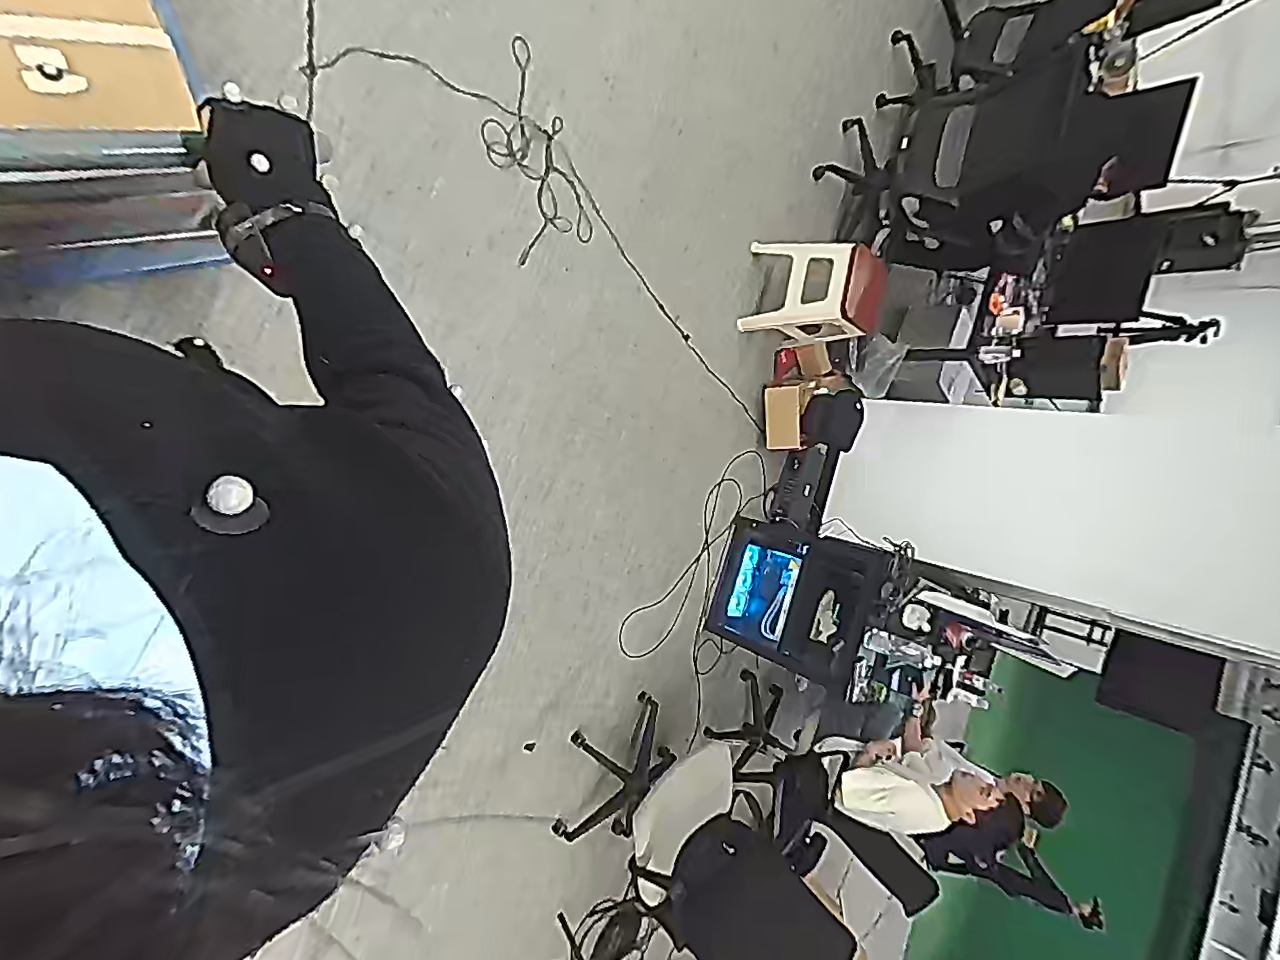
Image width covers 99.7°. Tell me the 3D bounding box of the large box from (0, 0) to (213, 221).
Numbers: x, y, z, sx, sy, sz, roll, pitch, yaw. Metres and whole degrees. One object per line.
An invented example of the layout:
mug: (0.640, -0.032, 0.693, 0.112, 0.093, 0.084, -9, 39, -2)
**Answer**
large box: (-0.887, -0.537, 0.711, 0.408, 0.320, 0.320, -29, 120, -38)
